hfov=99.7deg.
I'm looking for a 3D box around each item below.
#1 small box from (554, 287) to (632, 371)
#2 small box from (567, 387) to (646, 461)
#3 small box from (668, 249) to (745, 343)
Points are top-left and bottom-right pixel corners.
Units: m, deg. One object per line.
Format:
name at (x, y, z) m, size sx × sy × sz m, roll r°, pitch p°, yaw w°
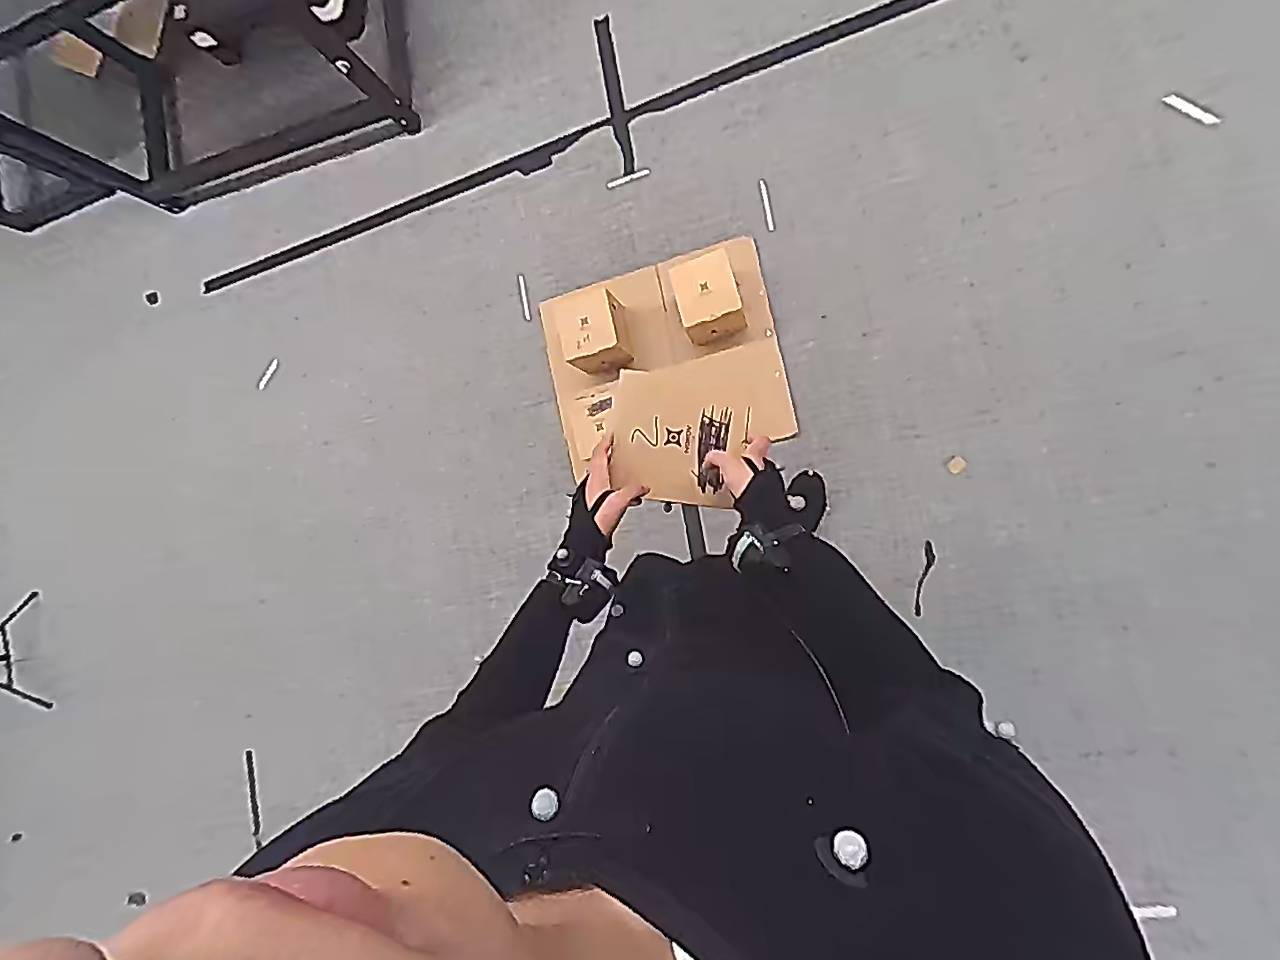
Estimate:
small box at (-0.135, -0.440, 1.606) m, size 0.168 × 0.176 × 0.179 m, roll -13°, pitch 86°, yaw 15°
small box at (-0.095, -0.158, 1.593) m, size 0.168 × 0.176 × 0.179 m, roll -14°, pitch 87°, yaw 15°
small box at (0.191, -0.511, 1.526) m, size 0.168 × 0.176 × 0.179 m, roll -17°, pitch 85°, yaw 14°
